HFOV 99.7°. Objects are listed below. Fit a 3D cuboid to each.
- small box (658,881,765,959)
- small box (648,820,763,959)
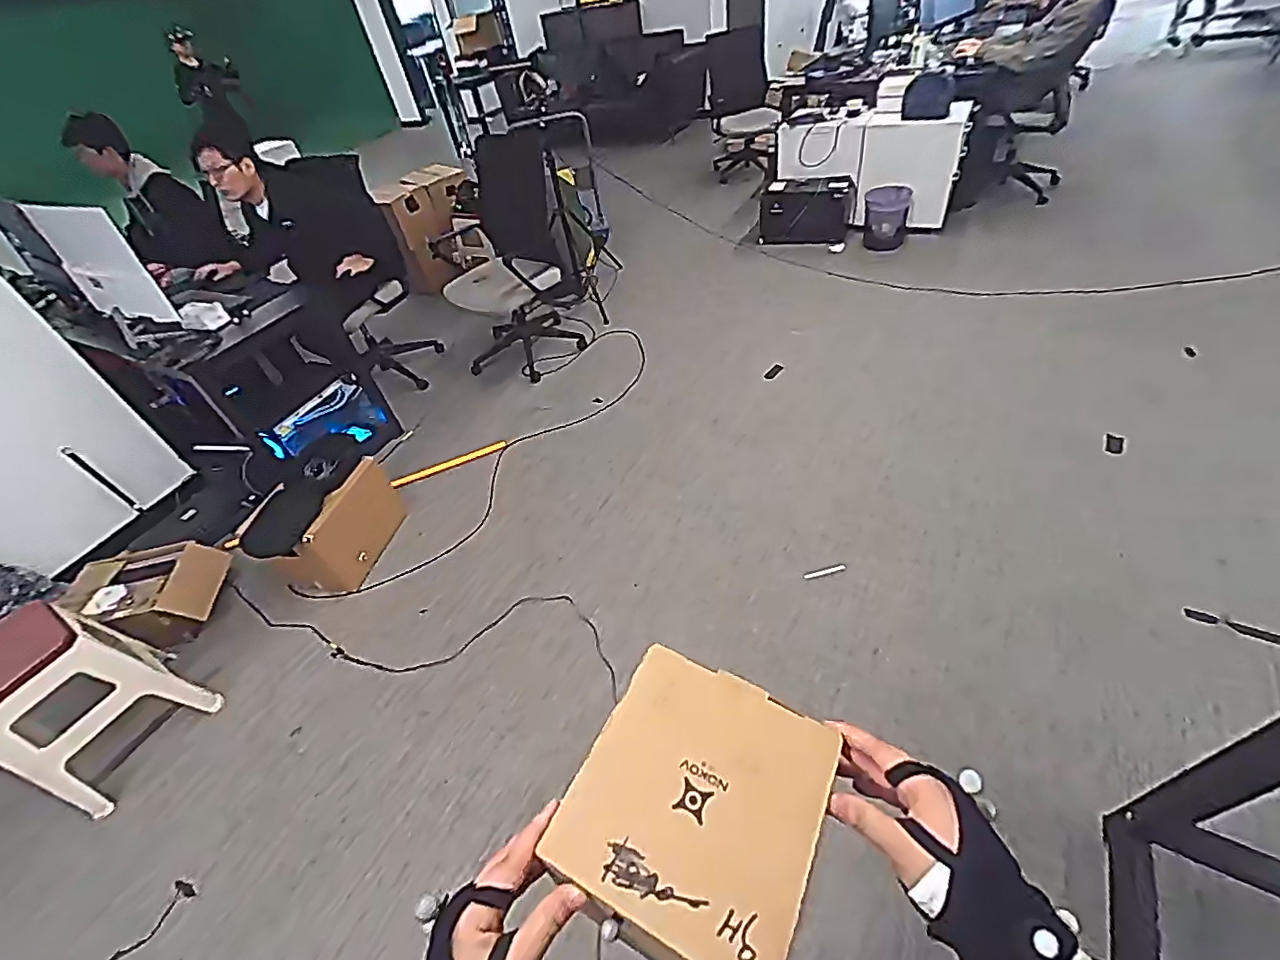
[{"bbox_3d":[0.152,0.905,1.120,0.168,0.176,0.179,13,50,24],"label":"small box"},{"bbox_3d":[0.130,0.785,1.013,0.168,0.176,0.179,11,47,20],"label":"small box"}]
